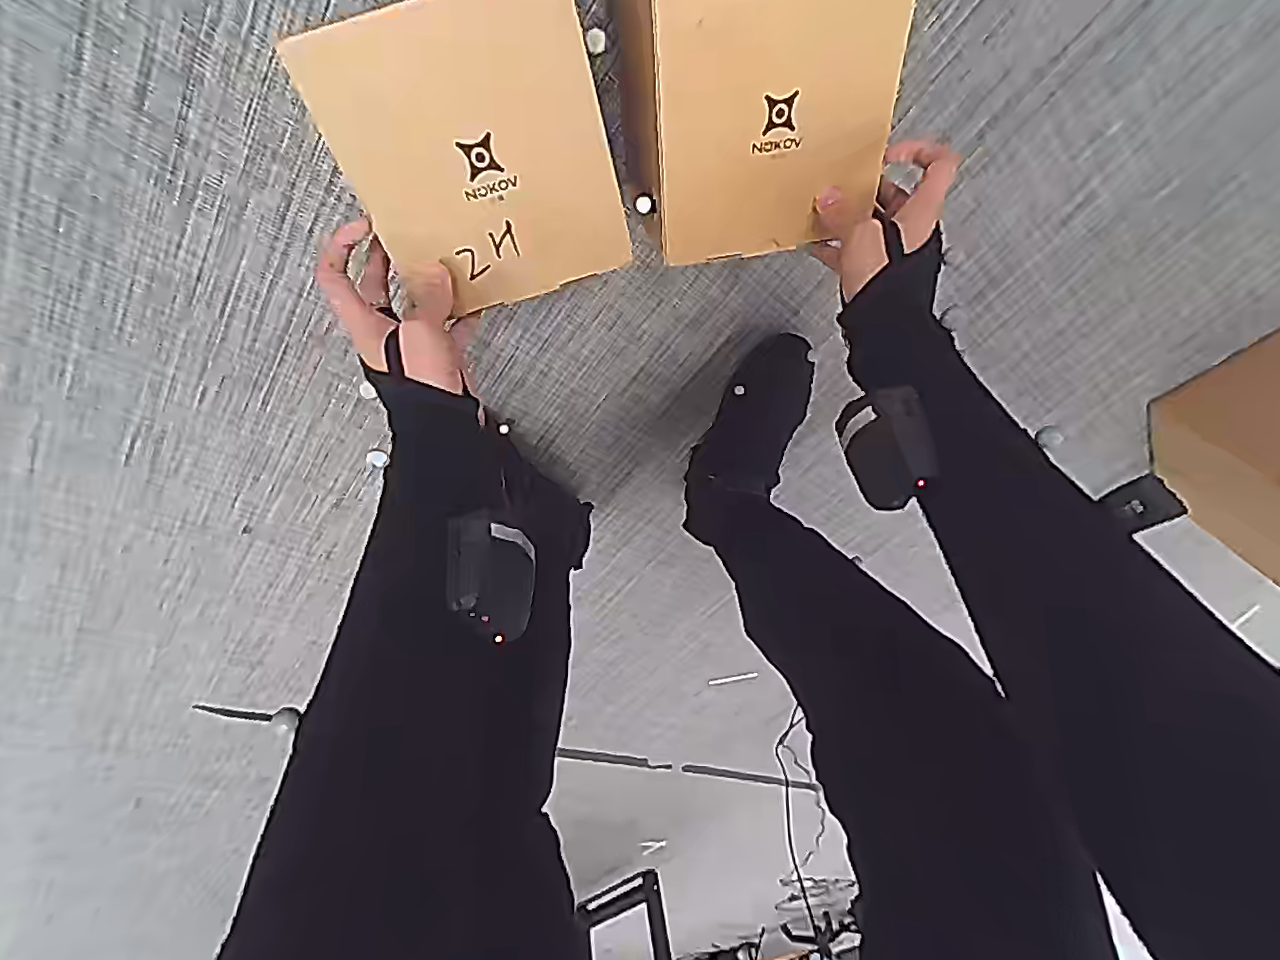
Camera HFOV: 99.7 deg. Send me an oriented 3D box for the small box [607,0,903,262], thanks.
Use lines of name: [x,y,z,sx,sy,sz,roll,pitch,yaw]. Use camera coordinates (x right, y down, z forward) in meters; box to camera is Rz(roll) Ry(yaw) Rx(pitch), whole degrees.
small box: [0.073,-0.299,0.424,0.168,0.176,0.179,-11,134,-4]

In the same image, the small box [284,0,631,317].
small box: [-0.117,-0.258,0.410,0.168,0.176,0.179,-17,134,1]
